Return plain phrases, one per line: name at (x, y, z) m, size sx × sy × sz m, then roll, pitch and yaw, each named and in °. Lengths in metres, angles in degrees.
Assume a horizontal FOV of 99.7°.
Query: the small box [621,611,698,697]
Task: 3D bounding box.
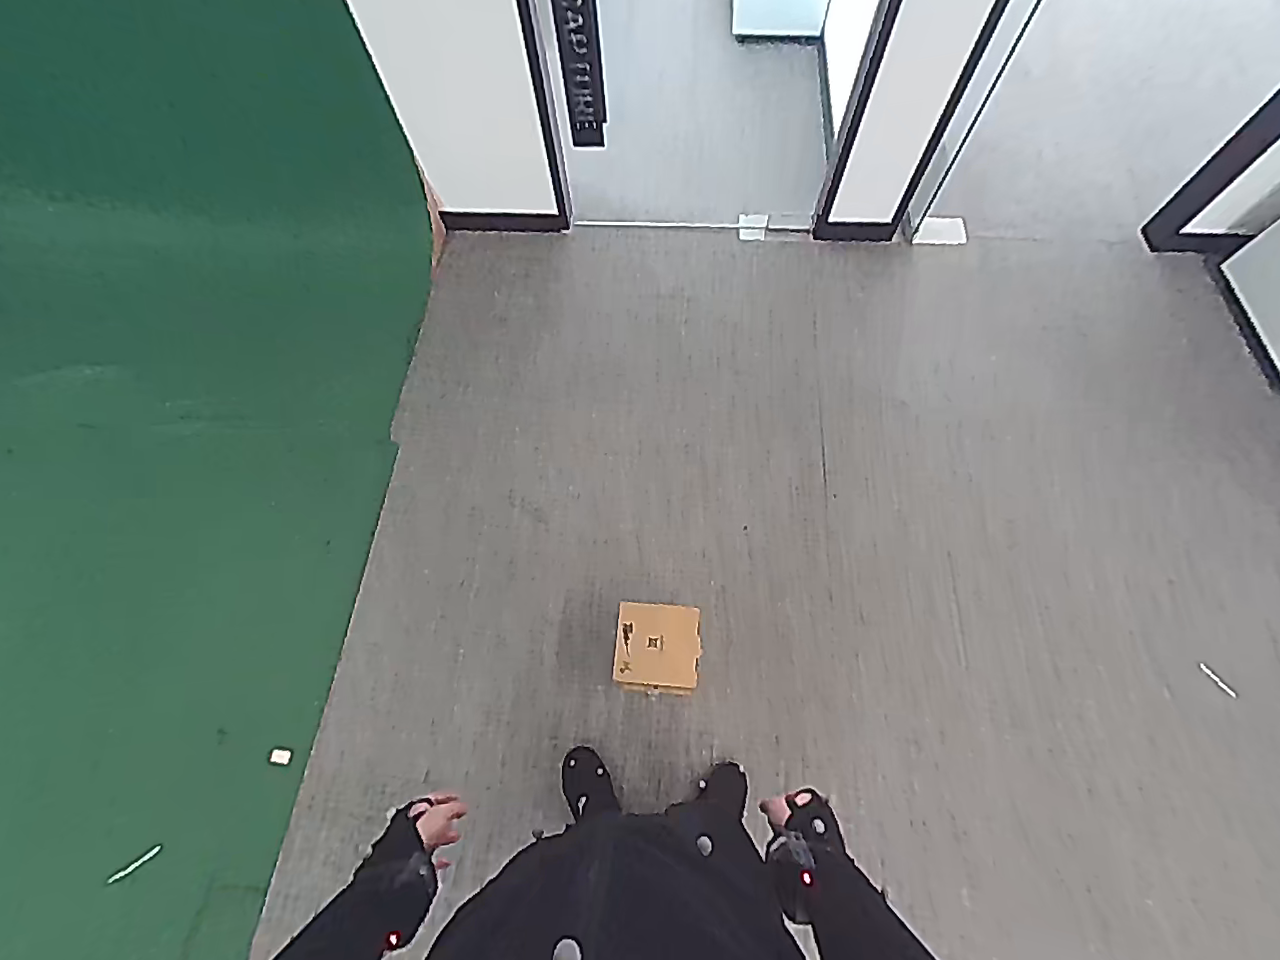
small box at (0.052, 0.438, 1.351) m, size 0.168 × 0.176 × 0.179 m, roll 5°, pitch 67°, yaw 7°
